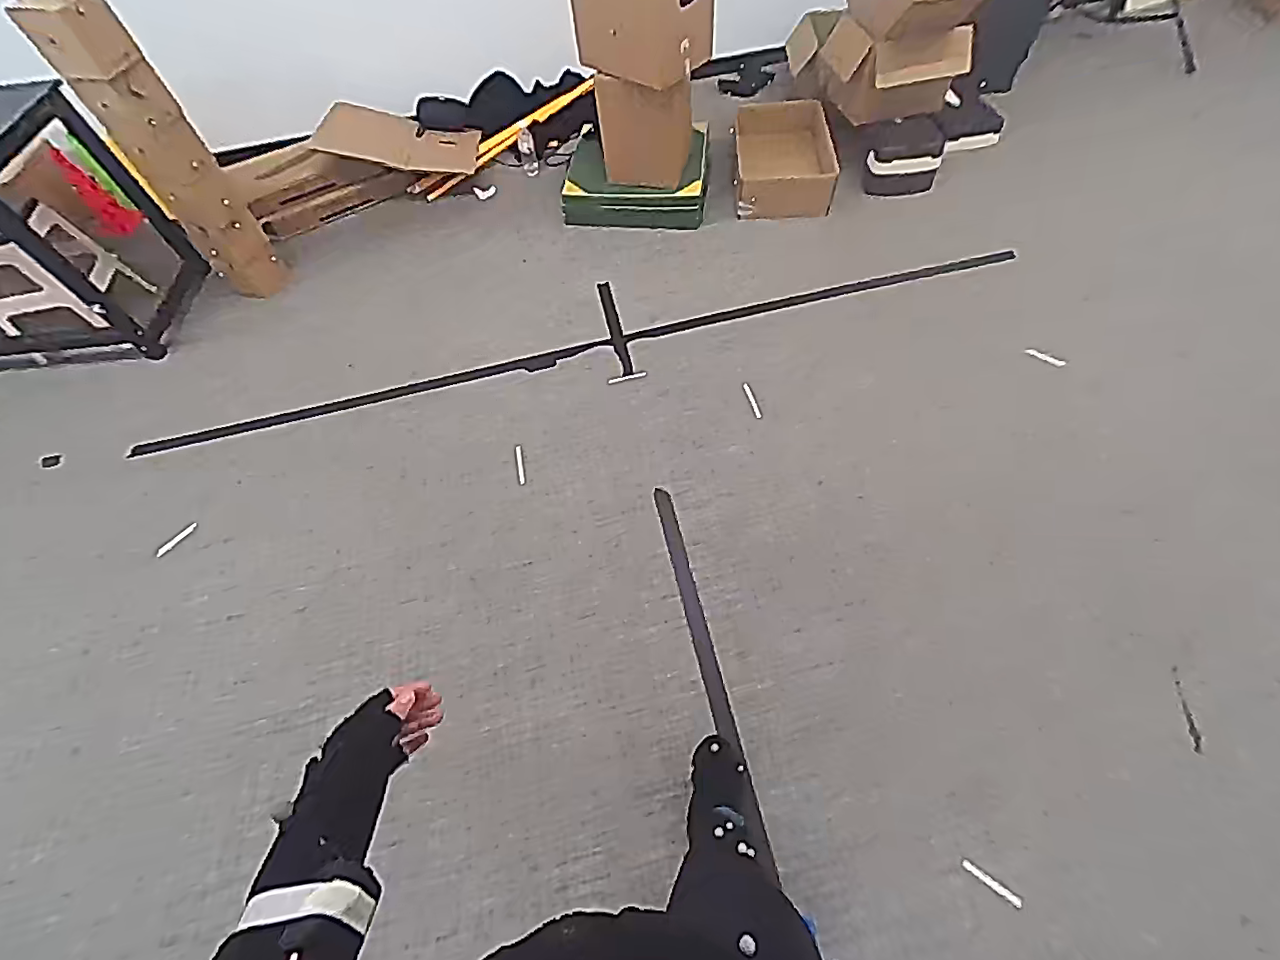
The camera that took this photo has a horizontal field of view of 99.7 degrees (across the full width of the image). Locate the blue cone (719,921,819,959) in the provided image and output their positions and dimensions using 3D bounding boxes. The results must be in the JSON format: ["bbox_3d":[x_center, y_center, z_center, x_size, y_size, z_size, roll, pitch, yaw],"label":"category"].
[{"bbox_3d":[0.249,0.890,0.886,0.193,0.380,0.192,-10,59,-2],"label":"blue cone"}]
